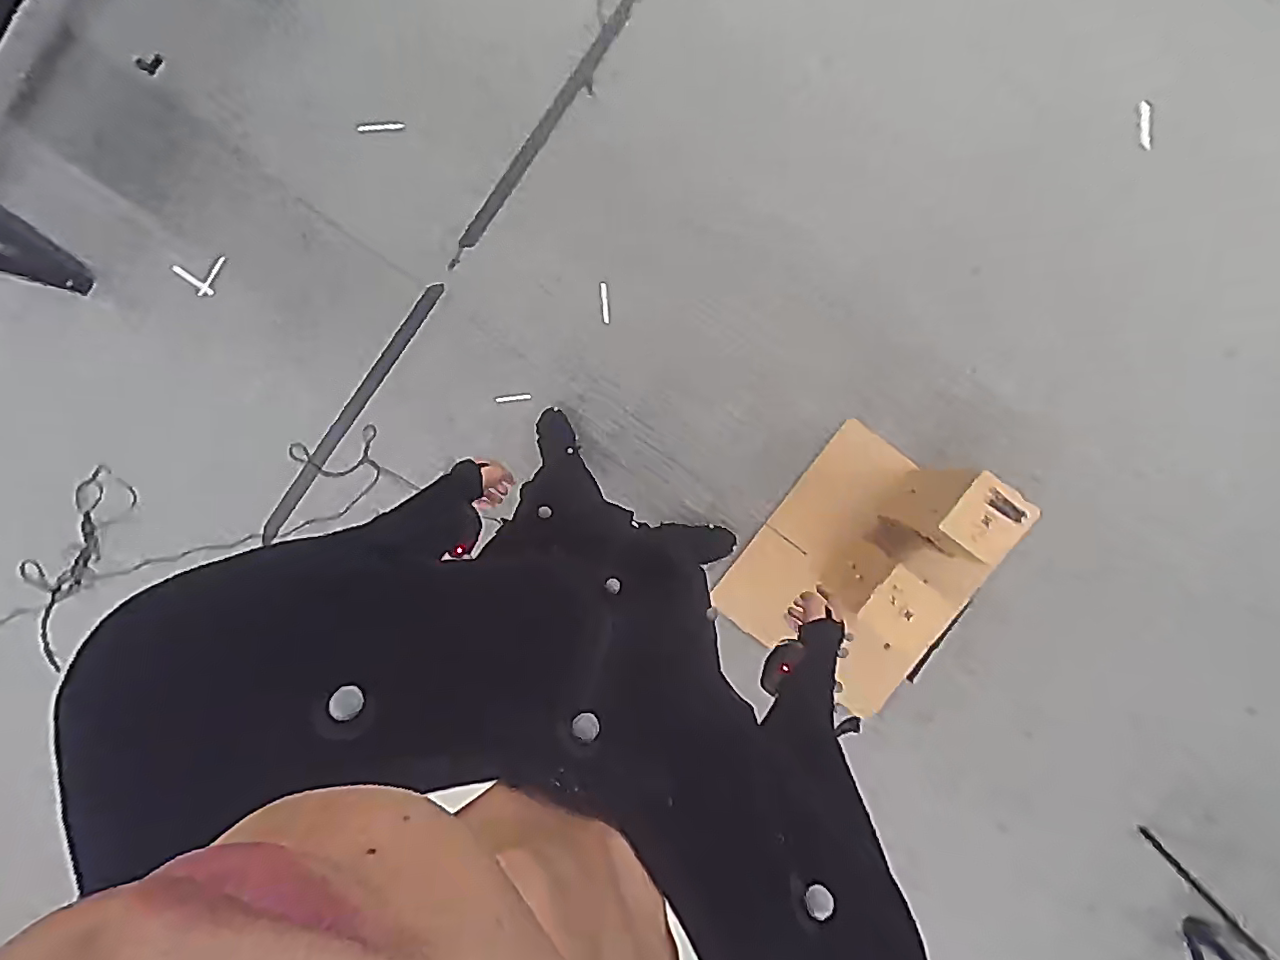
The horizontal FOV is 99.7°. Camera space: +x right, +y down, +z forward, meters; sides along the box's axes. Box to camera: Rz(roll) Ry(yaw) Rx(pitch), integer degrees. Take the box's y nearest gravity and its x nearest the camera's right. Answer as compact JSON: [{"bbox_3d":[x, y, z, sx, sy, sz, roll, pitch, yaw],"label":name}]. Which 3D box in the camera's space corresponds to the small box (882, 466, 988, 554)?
[{"bbox_3d":[0.806,0.077,1.507,0.168,0.176,0.179,37,93,0],"label":"small box"}]

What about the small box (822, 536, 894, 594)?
[{"bbox_3d":[0.638,0.282,1.528,0.168,0.176,0.179,39,94,1],"label":"small box"}]

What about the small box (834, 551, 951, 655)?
[{"bbox_3d":[0.626,0.299,1.365,0.179,0.176,0.168,39,94,1],"label":"small box"}]
